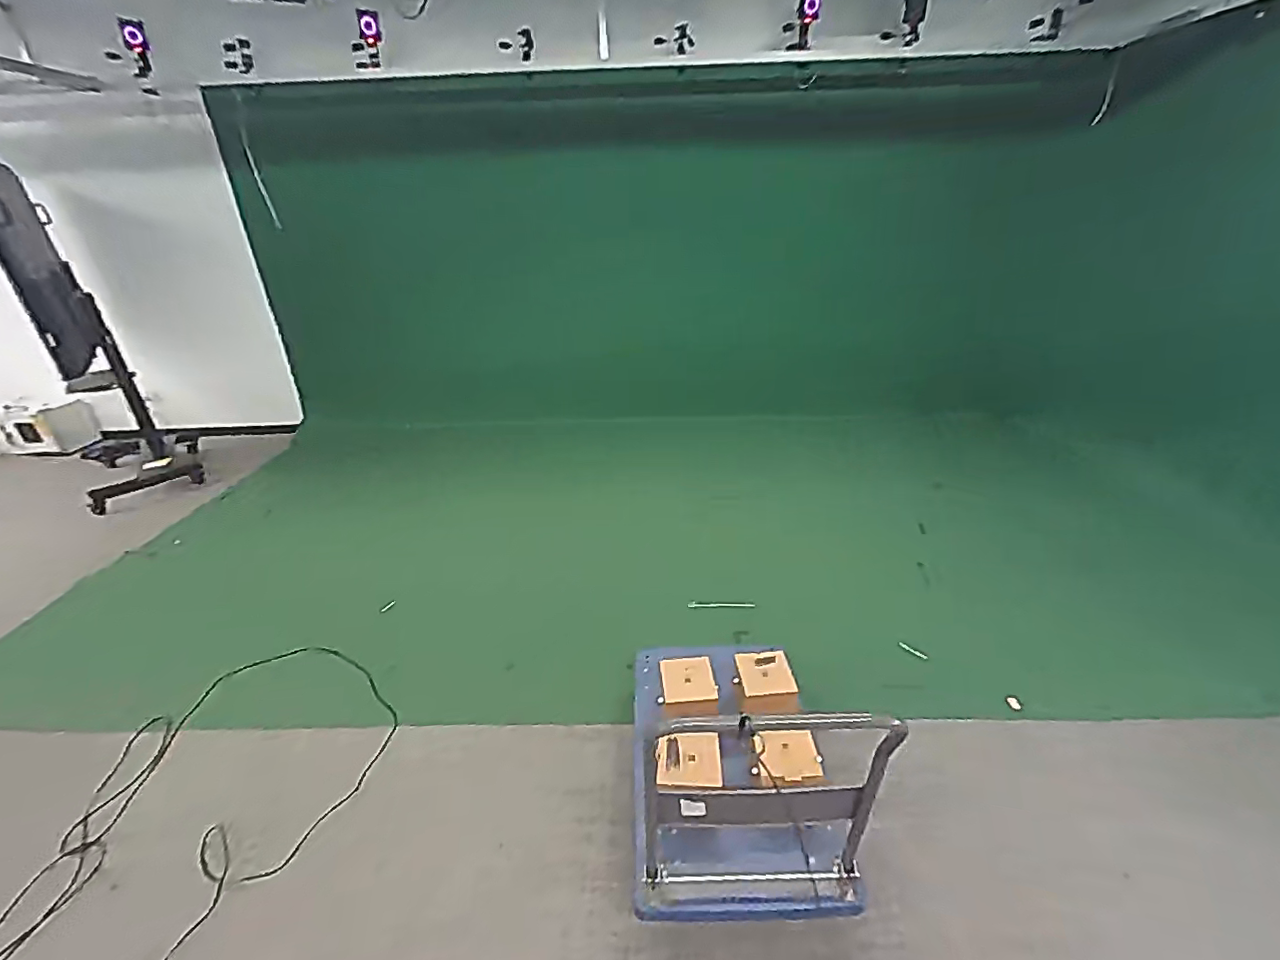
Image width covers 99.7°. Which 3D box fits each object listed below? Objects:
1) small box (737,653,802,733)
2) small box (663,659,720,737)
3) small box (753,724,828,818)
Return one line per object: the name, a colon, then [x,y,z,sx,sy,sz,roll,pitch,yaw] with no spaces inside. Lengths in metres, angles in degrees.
small box: [0.416,0.693,1.765,0.168,0.176,0.179,-4,28,-2]
small box: [0.165,0.712,1.754,0.168,0.176,0.179,-3,27,-3]
small box: [0.416,0.817,1.525,0.168,0.176,0.179,-2,28,2]
